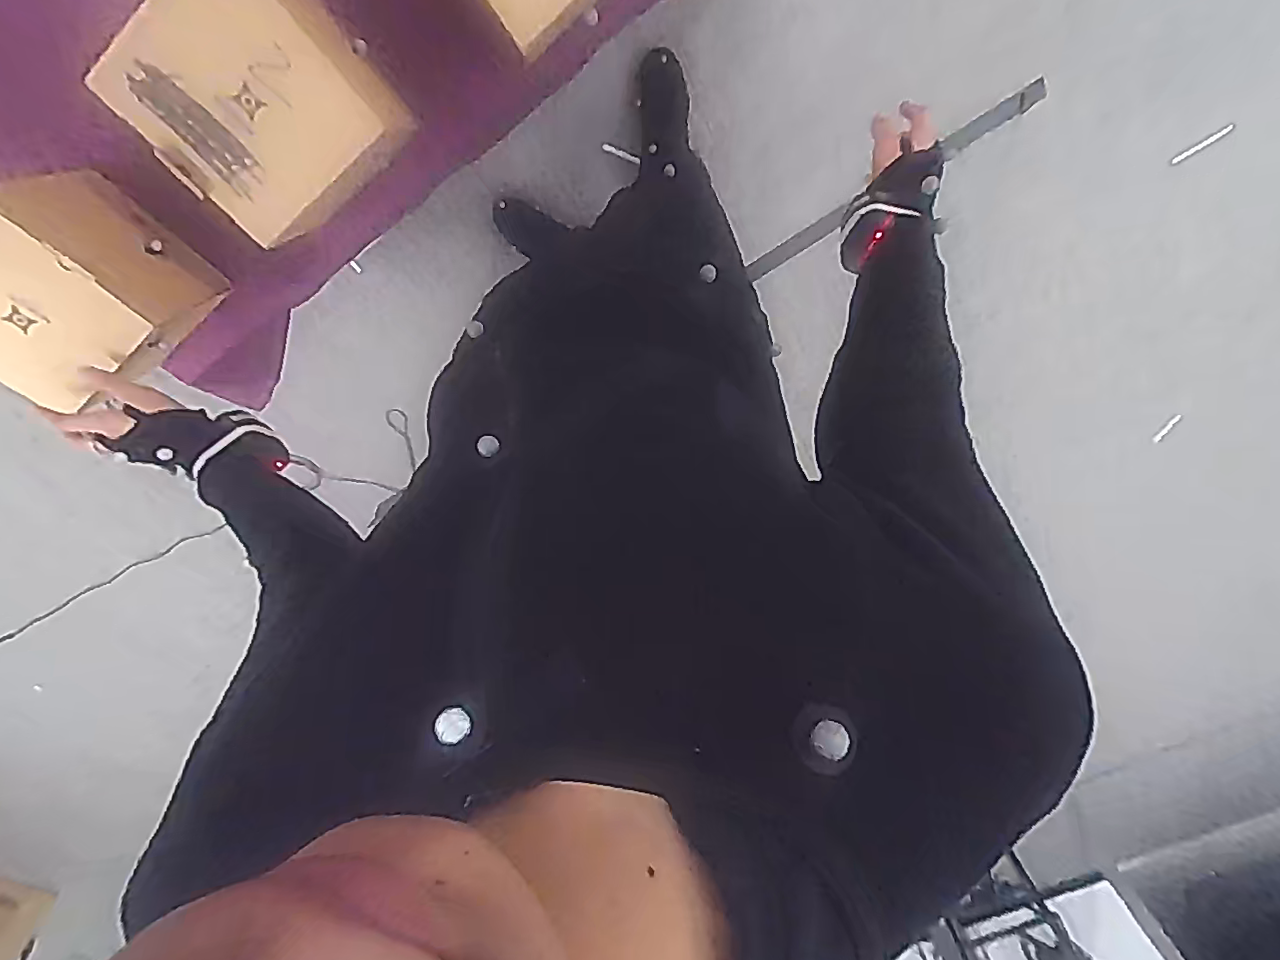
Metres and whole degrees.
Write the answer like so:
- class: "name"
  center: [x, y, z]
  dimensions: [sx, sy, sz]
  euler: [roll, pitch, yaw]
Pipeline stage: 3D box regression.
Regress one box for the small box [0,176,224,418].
- class: "small box"
  center: [-0.627, -0.209, 0.610]
  dimensions: [0.179, 0.176, 0.168]
  euler: [-35, 122, 14]
